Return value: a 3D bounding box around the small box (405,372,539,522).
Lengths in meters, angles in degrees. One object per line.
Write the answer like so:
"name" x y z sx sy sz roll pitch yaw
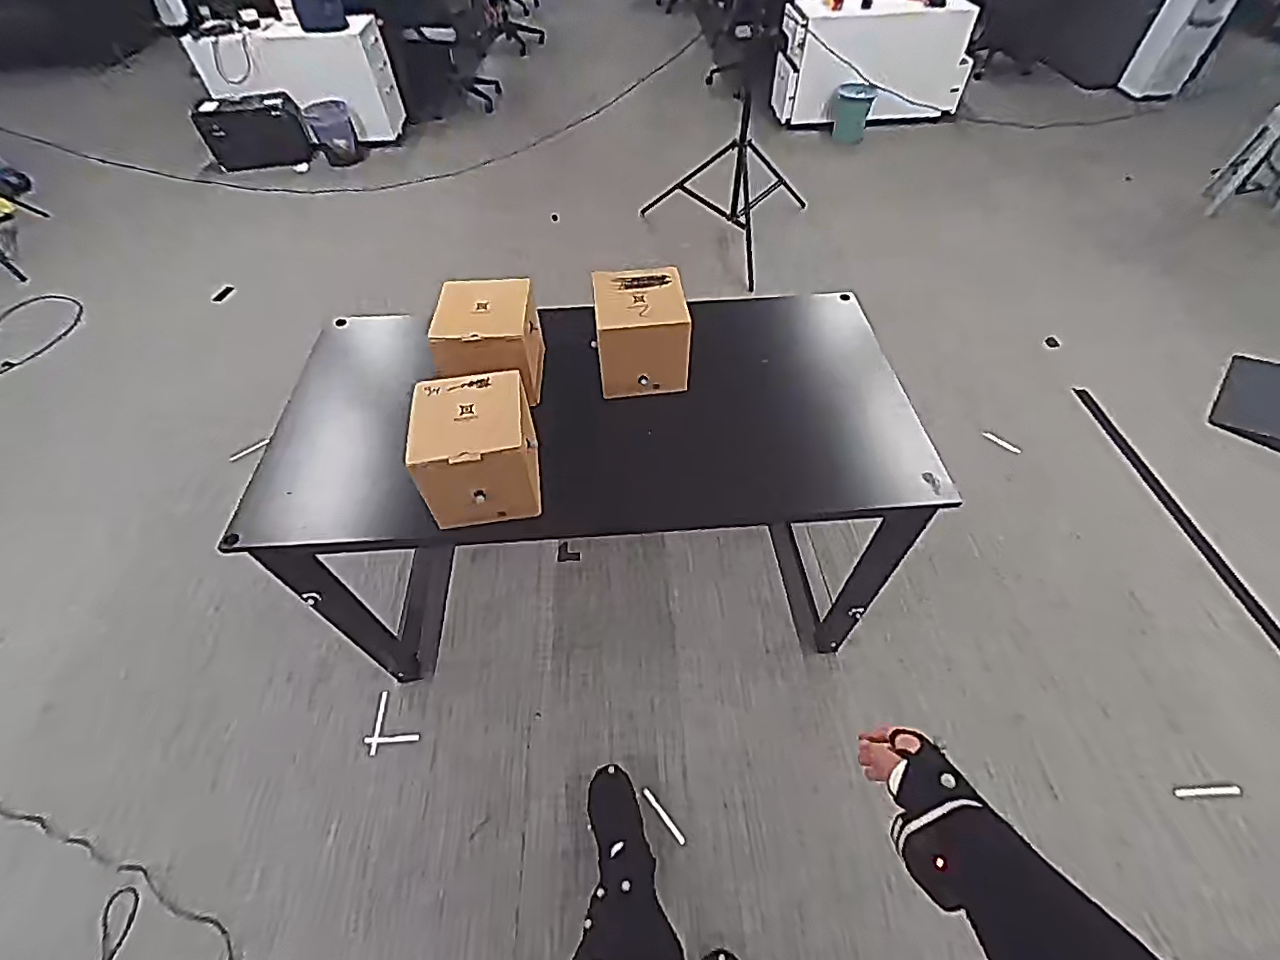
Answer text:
"small box" -0.261 -0.046 0.876 0.168 0.176 0.179 -8 53 -5

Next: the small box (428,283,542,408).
"small box" -0.286 -0.258 1.044 0.168 0.176 0.179 -3 53 0
